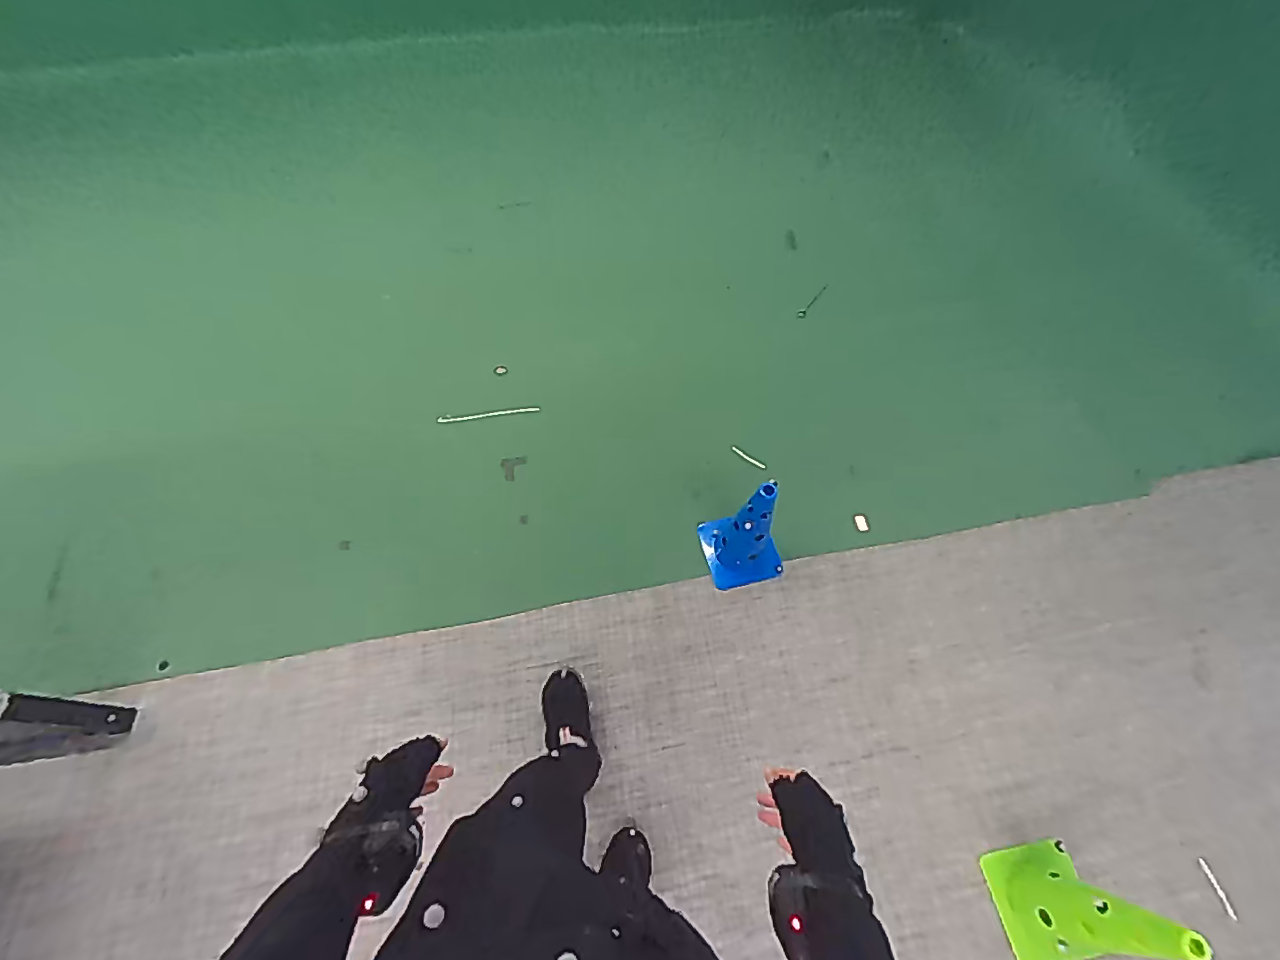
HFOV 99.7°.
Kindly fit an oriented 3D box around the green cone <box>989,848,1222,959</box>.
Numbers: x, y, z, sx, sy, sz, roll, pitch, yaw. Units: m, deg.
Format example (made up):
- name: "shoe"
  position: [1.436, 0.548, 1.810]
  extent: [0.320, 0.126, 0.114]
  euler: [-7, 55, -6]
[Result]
- name: "green cone"
  position: [0.847, 0.809, 0.962]
  extent: [0.200, 0.368, 0.202]
  euler: [-10, 62, -6]
